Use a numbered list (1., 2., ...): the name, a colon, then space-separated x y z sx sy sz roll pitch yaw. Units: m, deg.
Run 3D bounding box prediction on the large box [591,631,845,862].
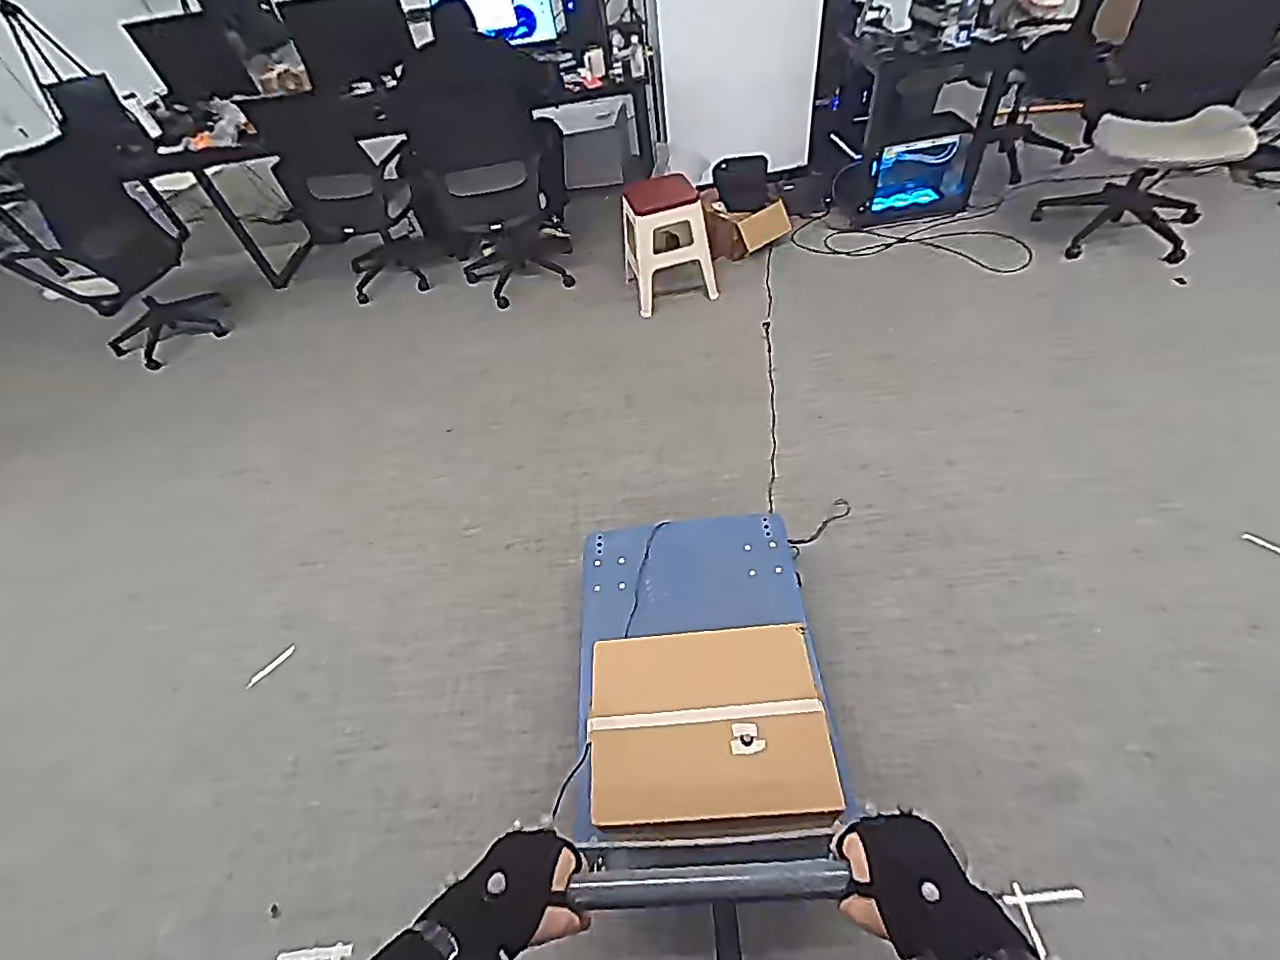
1. large box: 0.128 0.522 1.046 0.408 0.320 0.320 -7 50 4
